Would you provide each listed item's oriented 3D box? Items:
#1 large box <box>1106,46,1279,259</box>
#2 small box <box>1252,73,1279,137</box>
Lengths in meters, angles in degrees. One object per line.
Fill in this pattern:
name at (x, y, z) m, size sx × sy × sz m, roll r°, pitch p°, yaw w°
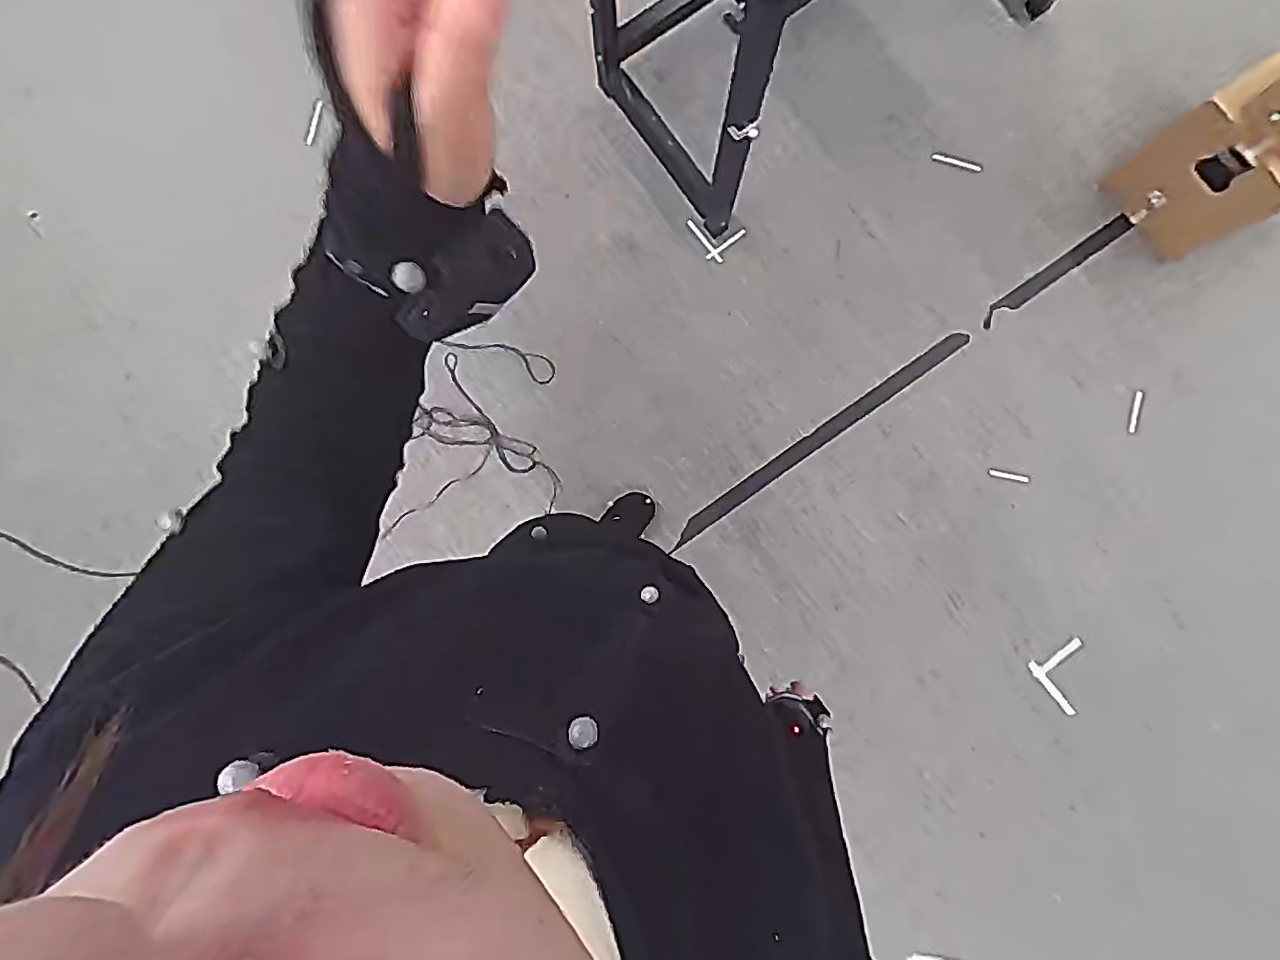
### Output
large box at (1.547, -0.854, 1.369) m, size 0.408 × 0.320 × 0.320 m, roll -34°, pitch 88°, yaw -1°
small box at (1.474, -0.846, 1.126) m, size 0.179 × 0.176 × 0.168 m, roll -35°, pitch 86°, yaw 0°
